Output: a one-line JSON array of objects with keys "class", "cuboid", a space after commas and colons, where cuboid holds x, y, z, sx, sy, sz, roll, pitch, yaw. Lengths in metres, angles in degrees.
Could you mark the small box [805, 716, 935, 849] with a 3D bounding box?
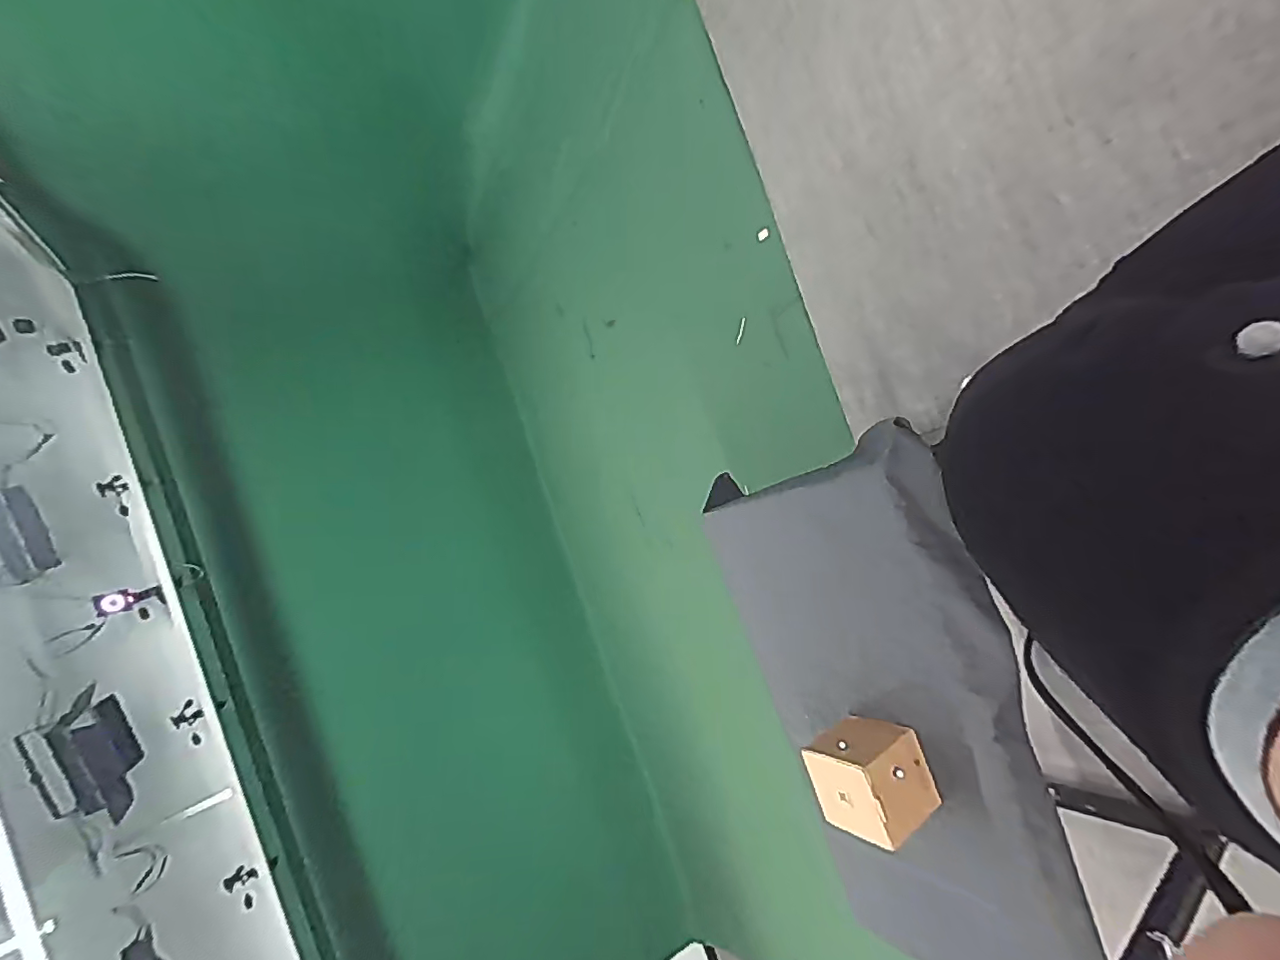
[{"class": "small box", "cuboid": [0.494, 0.628, 1.151, 0.179, 0.176, 0.168, -26, 83, 62]}]
